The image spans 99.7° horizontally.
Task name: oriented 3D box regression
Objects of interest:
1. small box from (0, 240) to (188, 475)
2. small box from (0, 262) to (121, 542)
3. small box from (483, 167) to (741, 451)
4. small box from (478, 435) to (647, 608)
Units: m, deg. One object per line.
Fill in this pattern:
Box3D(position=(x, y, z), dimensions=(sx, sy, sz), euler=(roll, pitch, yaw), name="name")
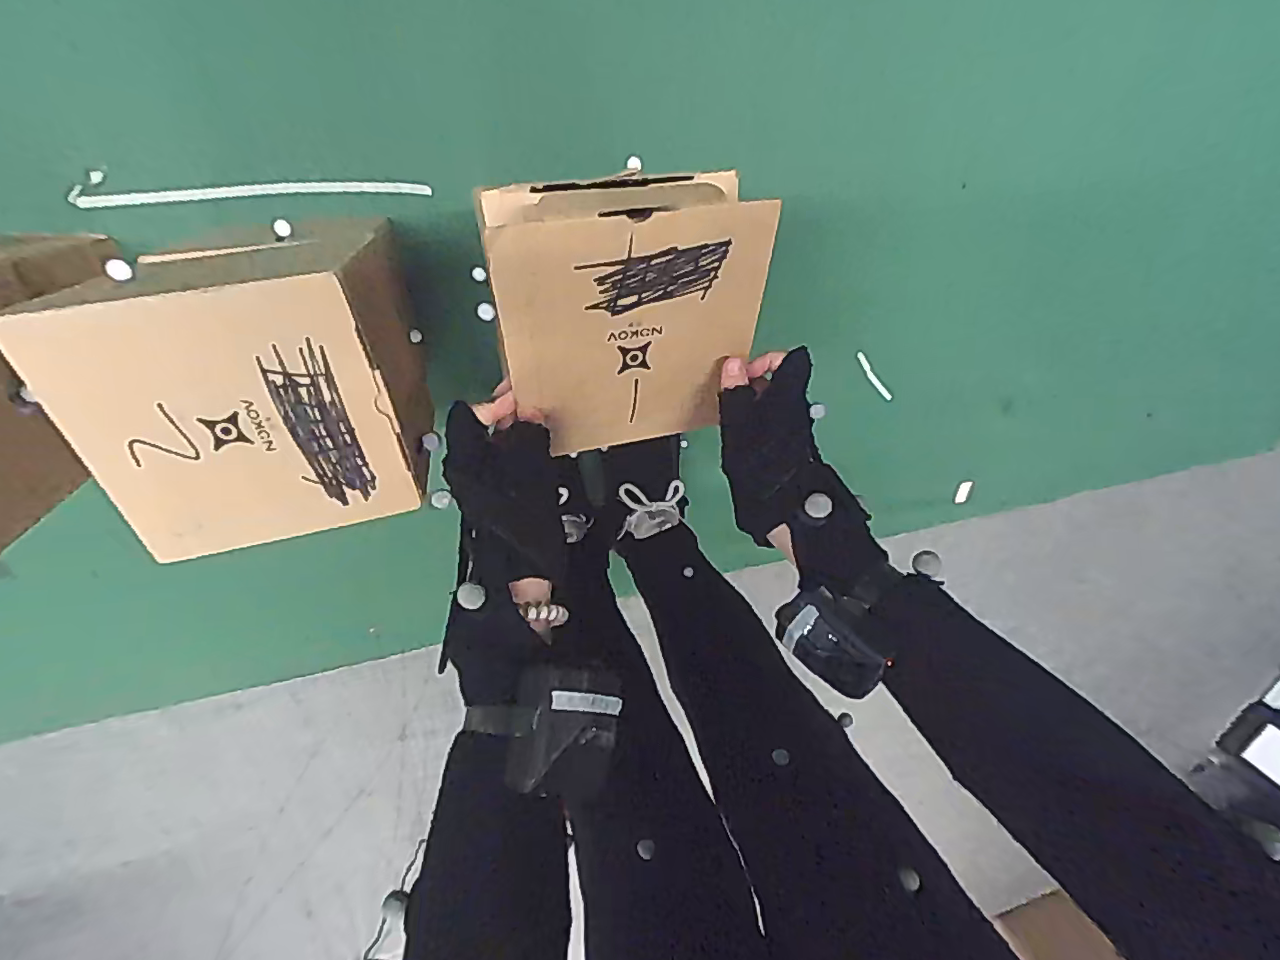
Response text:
Box3D(position=(-0.564, -0.113, 0.492), dimensions=(0.168, 0.176, 0.179), euler=(-6, 120, -14), name="small box")
Box3D(position=(-0.513, -0.043, 0.351), dimensions=(0.179, 0.176, 0.168), euler=(-7, 121, -13), name="small box")
Box3D(position=(-0.029, -0.147, 0.442), dimensions=(0.168, 0.176, 0.179), euler=(-11, 120, -11), name="small box")
Box3D(position=(-0.106, 0.041, 0.747), dimensions=(0.179, 0.176, 0.168), euler=(27, 120, -10), name="small box")
